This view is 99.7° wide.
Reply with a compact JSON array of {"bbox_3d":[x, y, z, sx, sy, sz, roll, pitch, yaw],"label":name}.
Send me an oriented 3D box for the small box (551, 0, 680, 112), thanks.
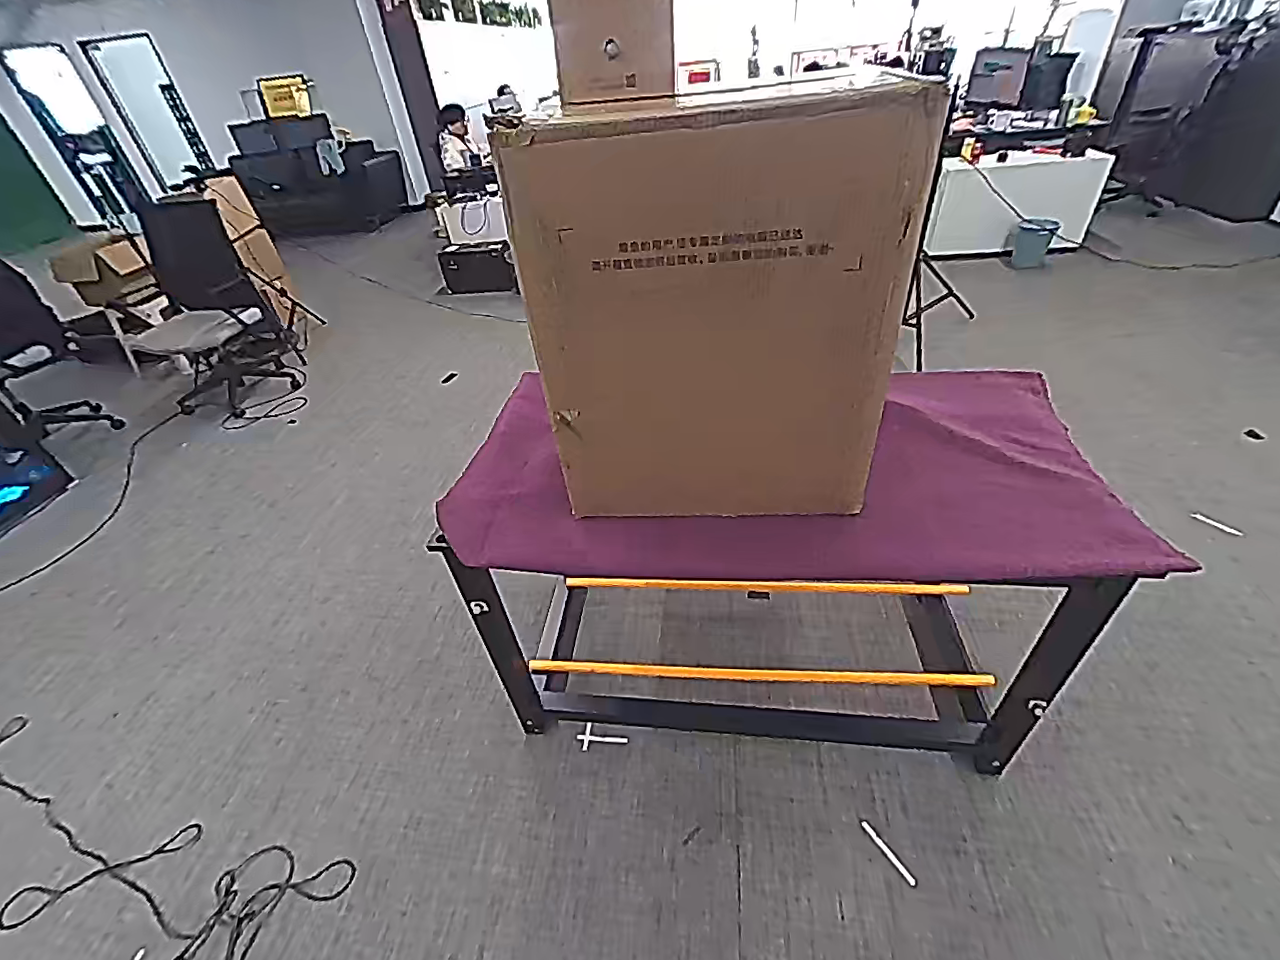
[{"bbox_3d":[-0.029,-0.644,0.785,0.168,0.176,0.179,-1,39,7],"label":"small box"}]
